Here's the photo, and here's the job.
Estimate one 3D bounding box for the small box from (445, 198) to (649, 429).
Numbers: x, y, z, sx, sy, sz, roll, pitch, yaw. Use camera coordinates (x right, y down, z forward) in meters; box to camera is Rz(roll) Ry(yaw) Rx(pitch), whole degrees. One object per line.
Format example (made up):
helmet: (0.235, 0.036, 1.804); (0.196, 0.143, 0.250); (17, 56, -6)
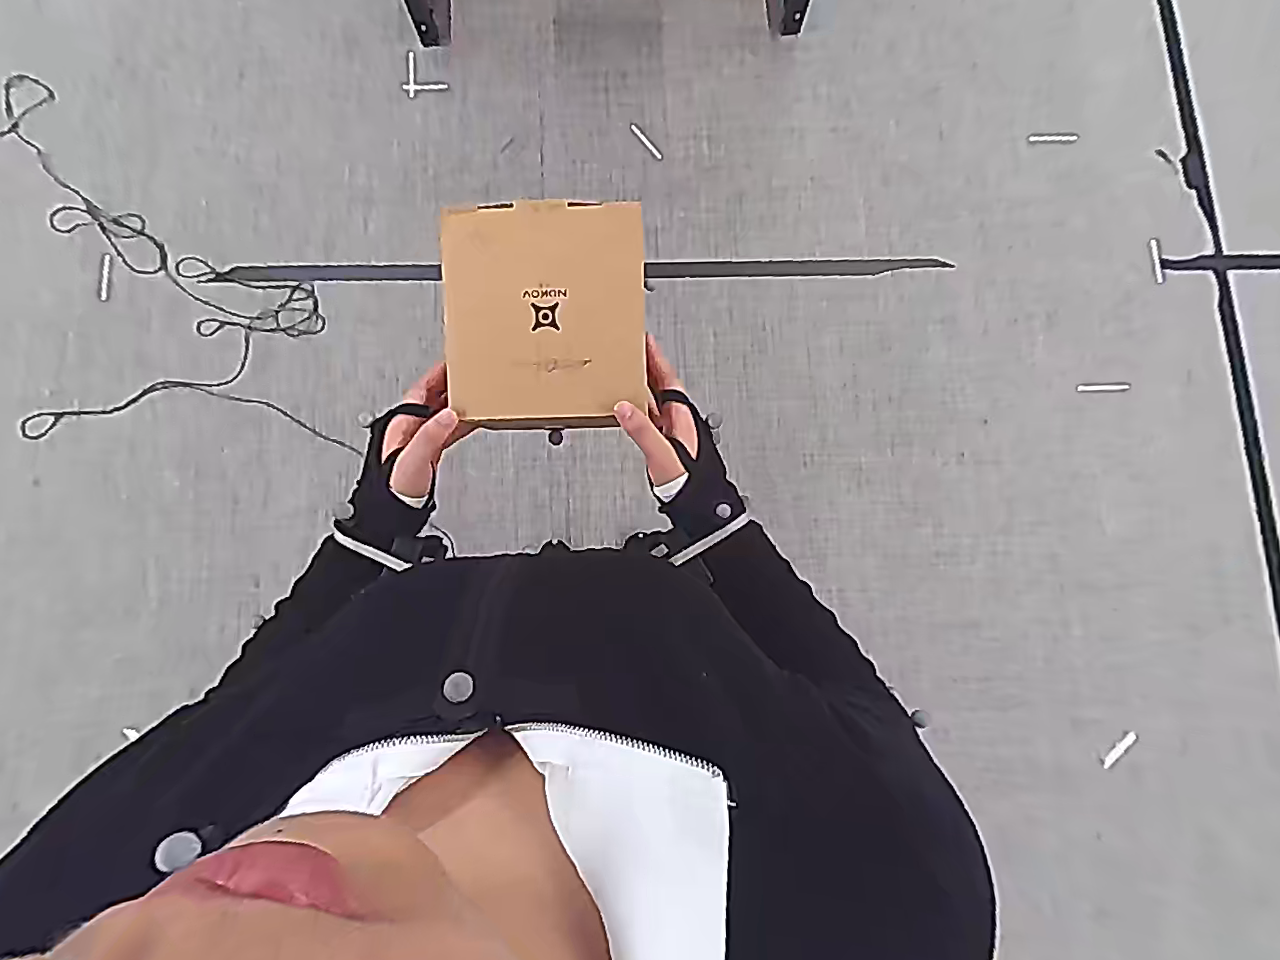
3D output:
small box: (-0.078, -0.145, 0.523); (0.168, 0.176, 0.179); (-2, 92, -1)
